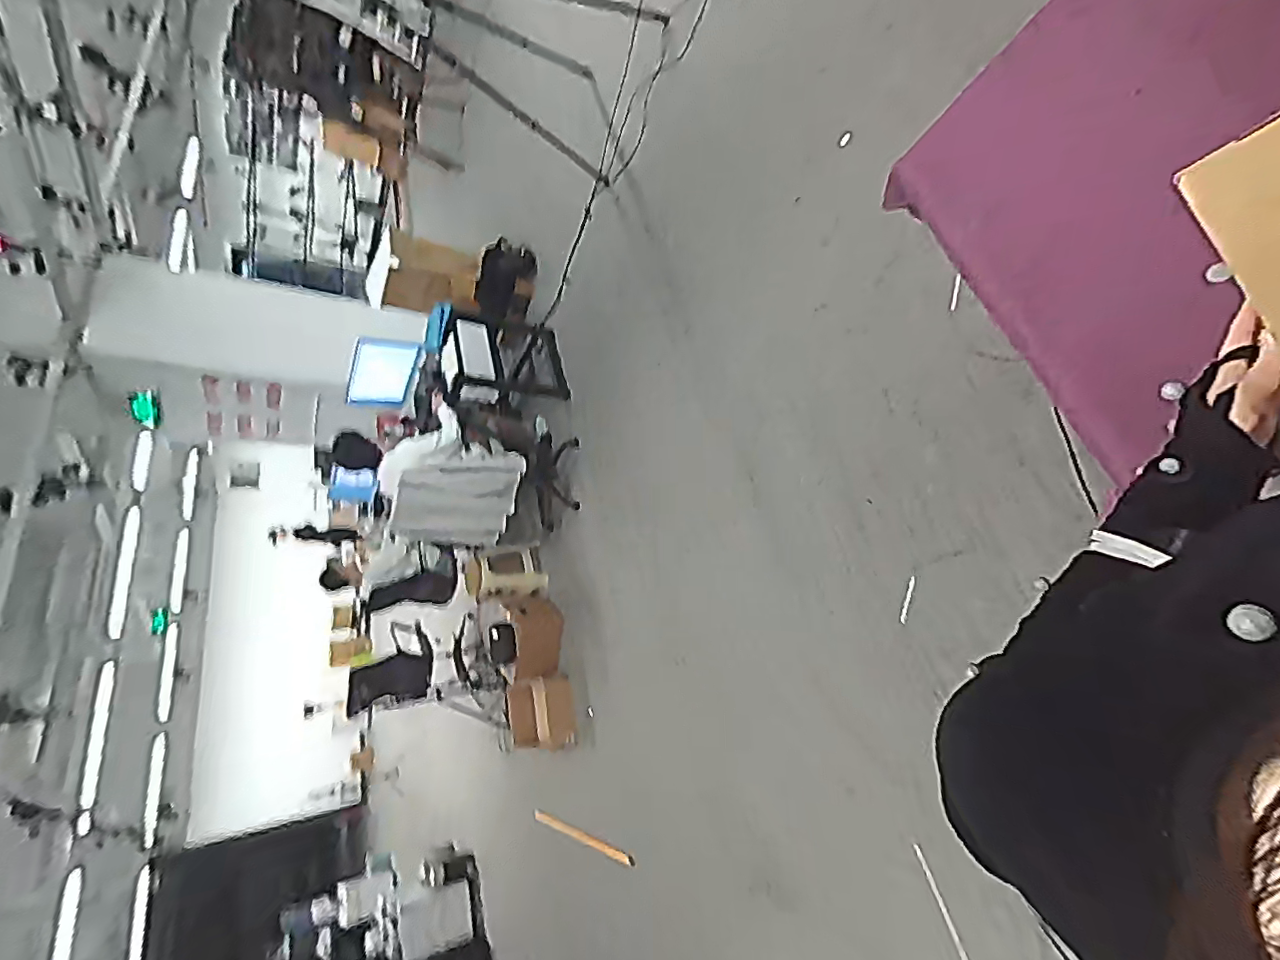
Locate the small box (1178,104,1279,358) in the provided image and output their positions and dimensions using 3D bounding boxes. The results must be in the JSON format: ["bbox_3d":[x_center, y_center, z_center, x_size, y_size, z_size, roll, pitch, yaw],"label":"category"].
[{"bbox_3d":[0.483,-0.173,0.332,0.168,0.176,0.179,-31,83,51],"label":"small box"}]
